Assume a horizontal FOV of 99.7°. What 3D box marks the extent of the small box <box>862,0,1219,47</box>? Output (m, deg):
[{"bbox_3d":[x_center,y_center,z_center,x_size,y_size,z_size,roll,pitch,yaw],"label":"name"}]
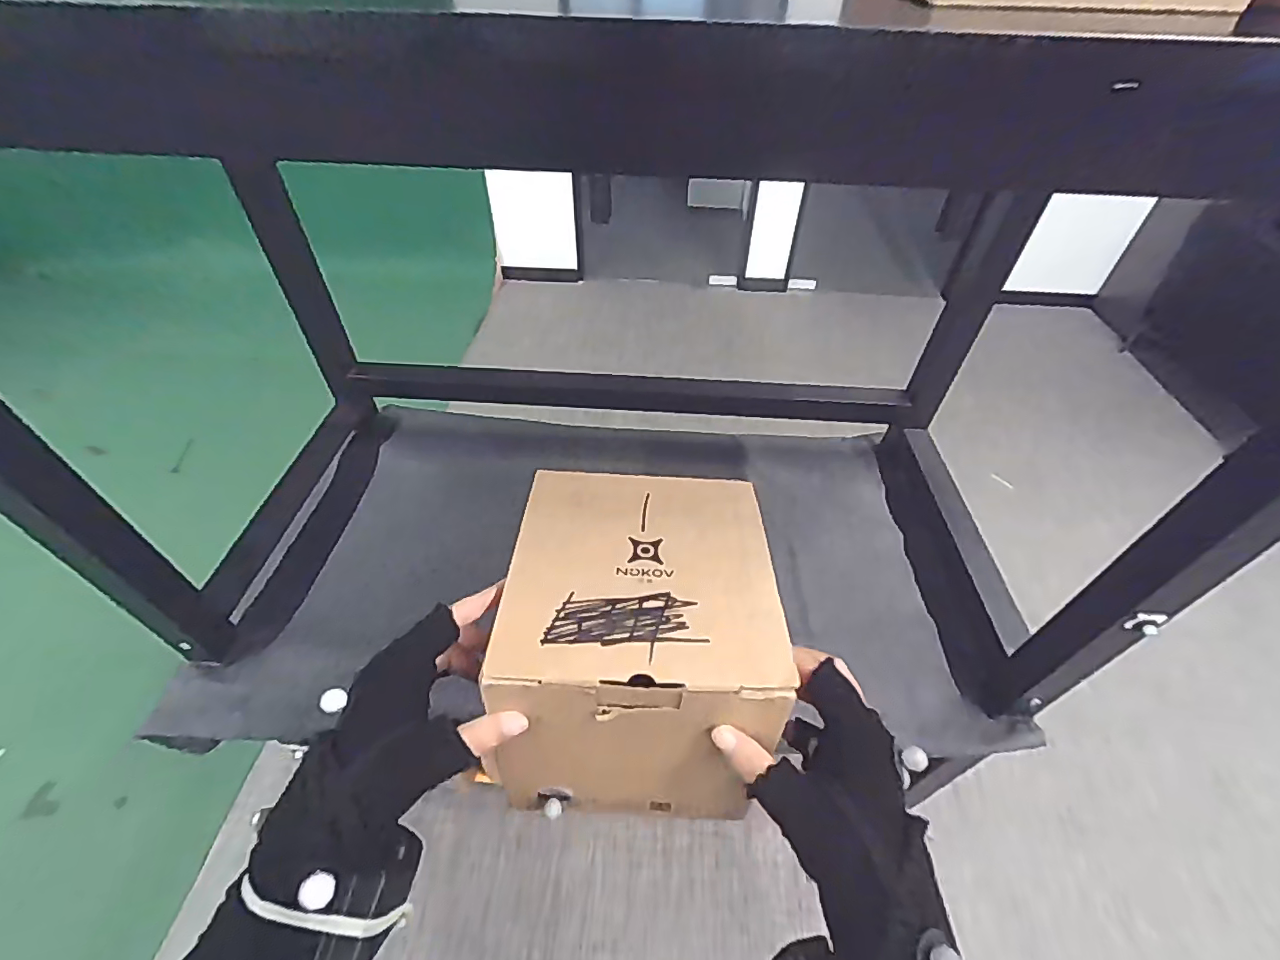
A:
[{"bbox_3d":[0.241,-0.367,0.306,0.168,0.176,0.179,3,45,1],"label":"small box"}]
